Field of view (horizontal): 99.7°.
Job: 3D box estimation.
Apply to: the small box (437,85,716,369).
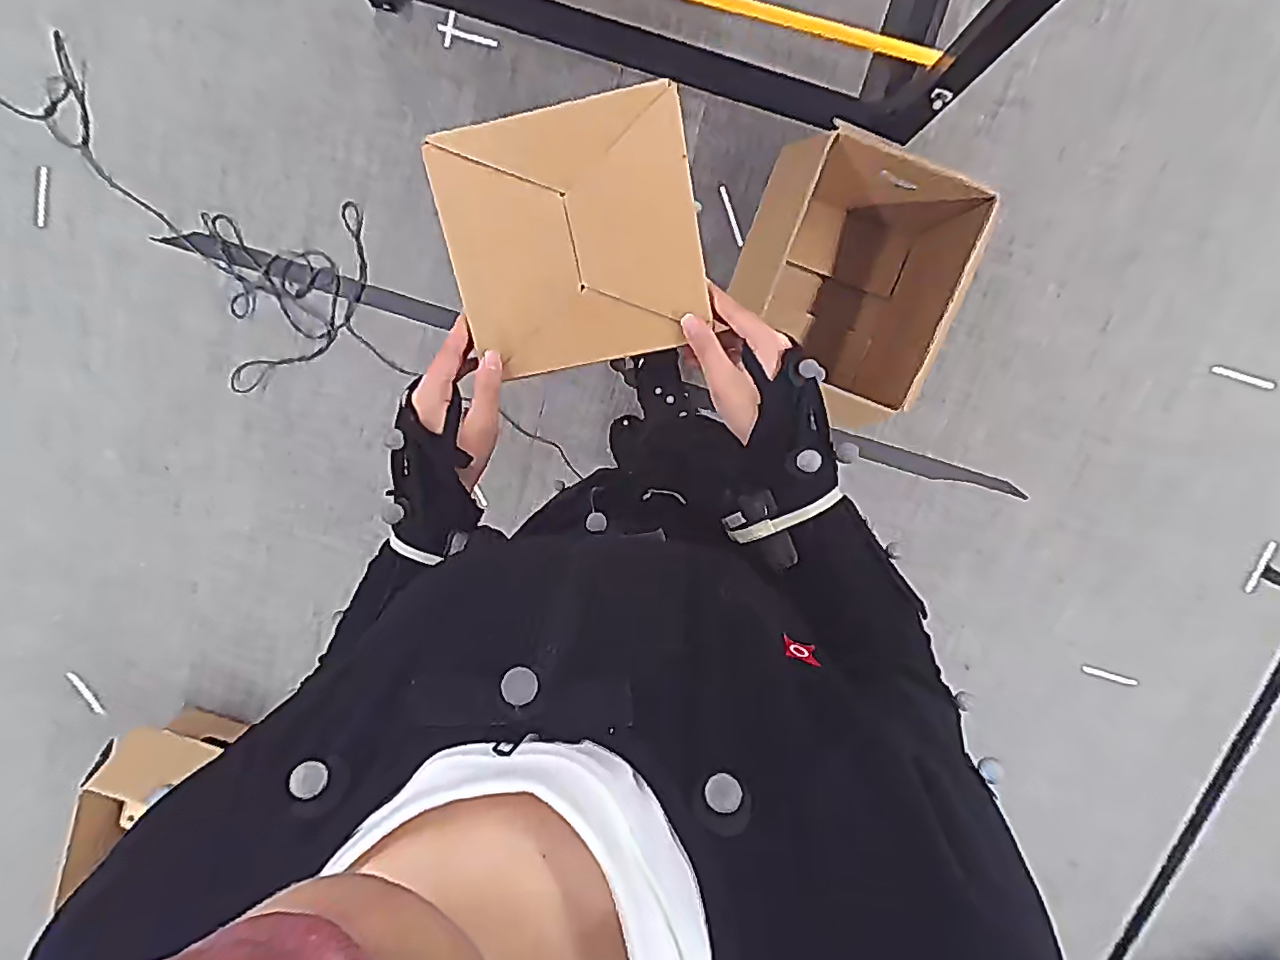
[{"bbox_3d":[-0.044,-0.191,0.452,0.179,0.176,0.168,-11,104,3],"label":"small box"}]
